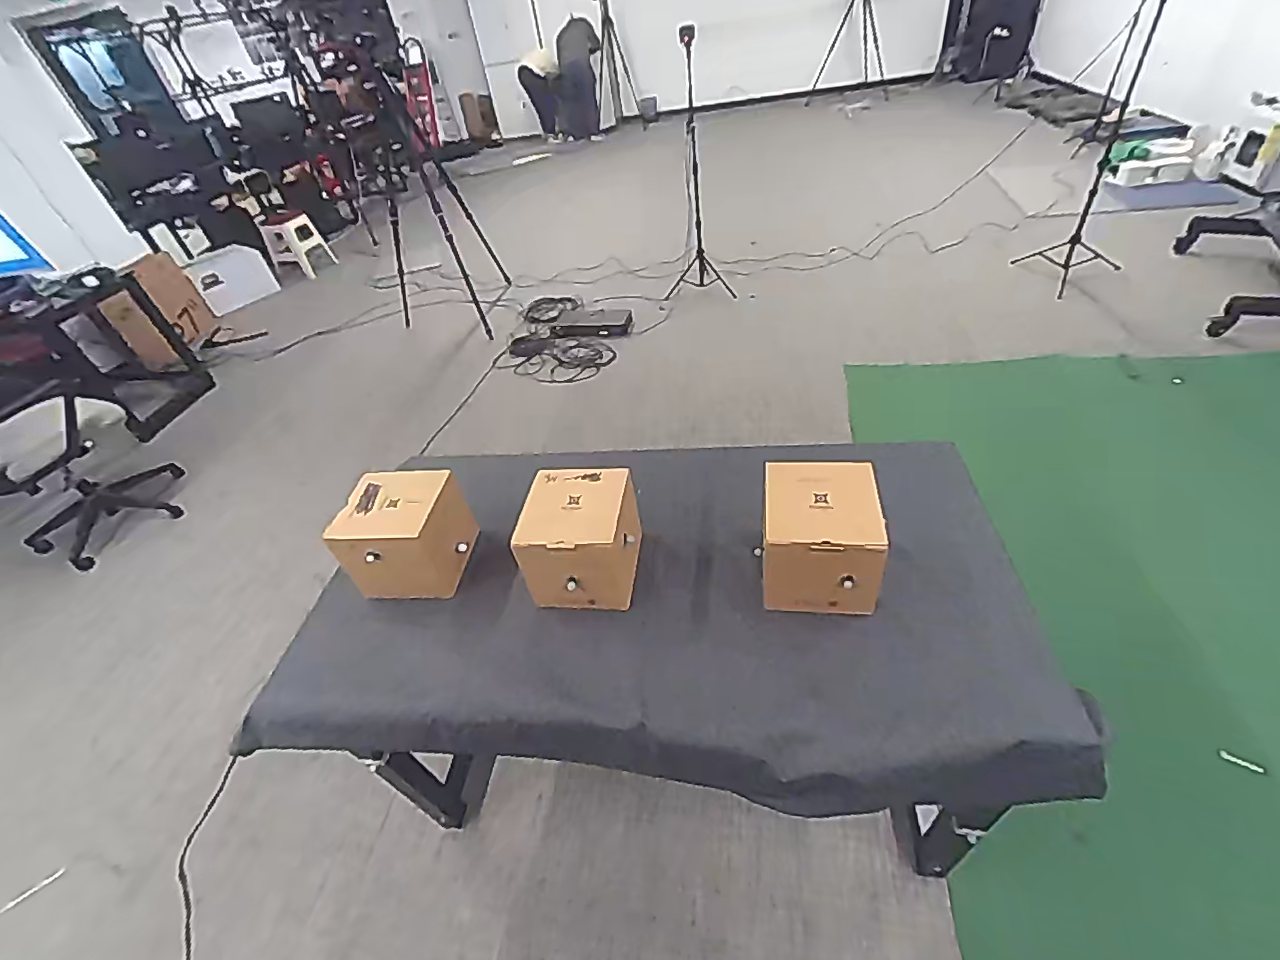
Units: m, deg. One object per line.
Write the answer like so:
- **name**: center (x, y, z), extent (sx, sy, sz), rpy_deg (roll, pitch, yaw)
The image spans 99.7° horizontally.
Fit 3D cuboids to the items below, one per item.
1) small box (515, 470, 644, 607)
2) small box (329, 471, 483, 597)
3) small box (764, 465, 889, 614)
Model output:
- **small box**: center (-0.091, 0.102, 0.929), extent (0.168, 0.176, 0.179), rpy_deg (-1, 43, 11)
- **small box**: center (-0.417, 0.101, 0.995), extent (0.179, 0.176, 0.168), rpy_deg (-2, 43, 8)
- **small box**: center (0.286, 0.094, 0.862), extent (0.168, 0.176, 0.179), rpy_deg (1, 42, 11)
